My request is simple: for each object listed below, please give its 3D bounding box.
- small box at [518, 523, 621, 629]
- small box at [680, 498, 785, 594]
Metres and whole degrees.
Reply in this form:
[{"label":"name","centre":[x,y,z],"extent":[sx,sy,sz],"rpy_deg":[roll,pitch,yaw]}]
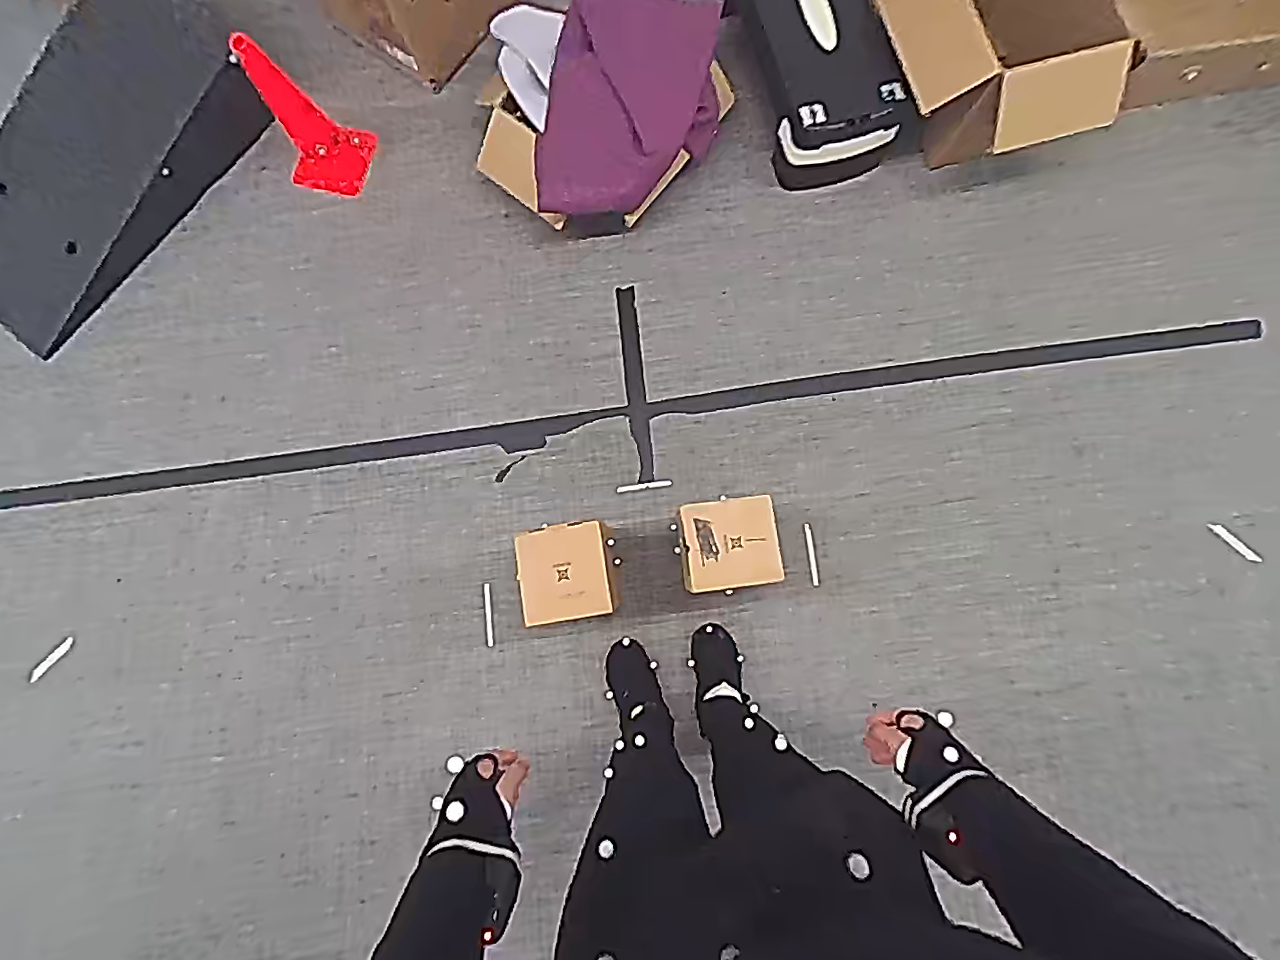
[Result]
[{"label":"small box","centre":[-0.136,0.189,1.083],"extent":[0.168,0.176,0.179],"rpy_deg":[-10,83,1]},{"label":"small box","centre":[0.175,0.135,1.082],"extent":[0.179,0.176,0.168],"rpy_deg":[-7,82,-1]}]
